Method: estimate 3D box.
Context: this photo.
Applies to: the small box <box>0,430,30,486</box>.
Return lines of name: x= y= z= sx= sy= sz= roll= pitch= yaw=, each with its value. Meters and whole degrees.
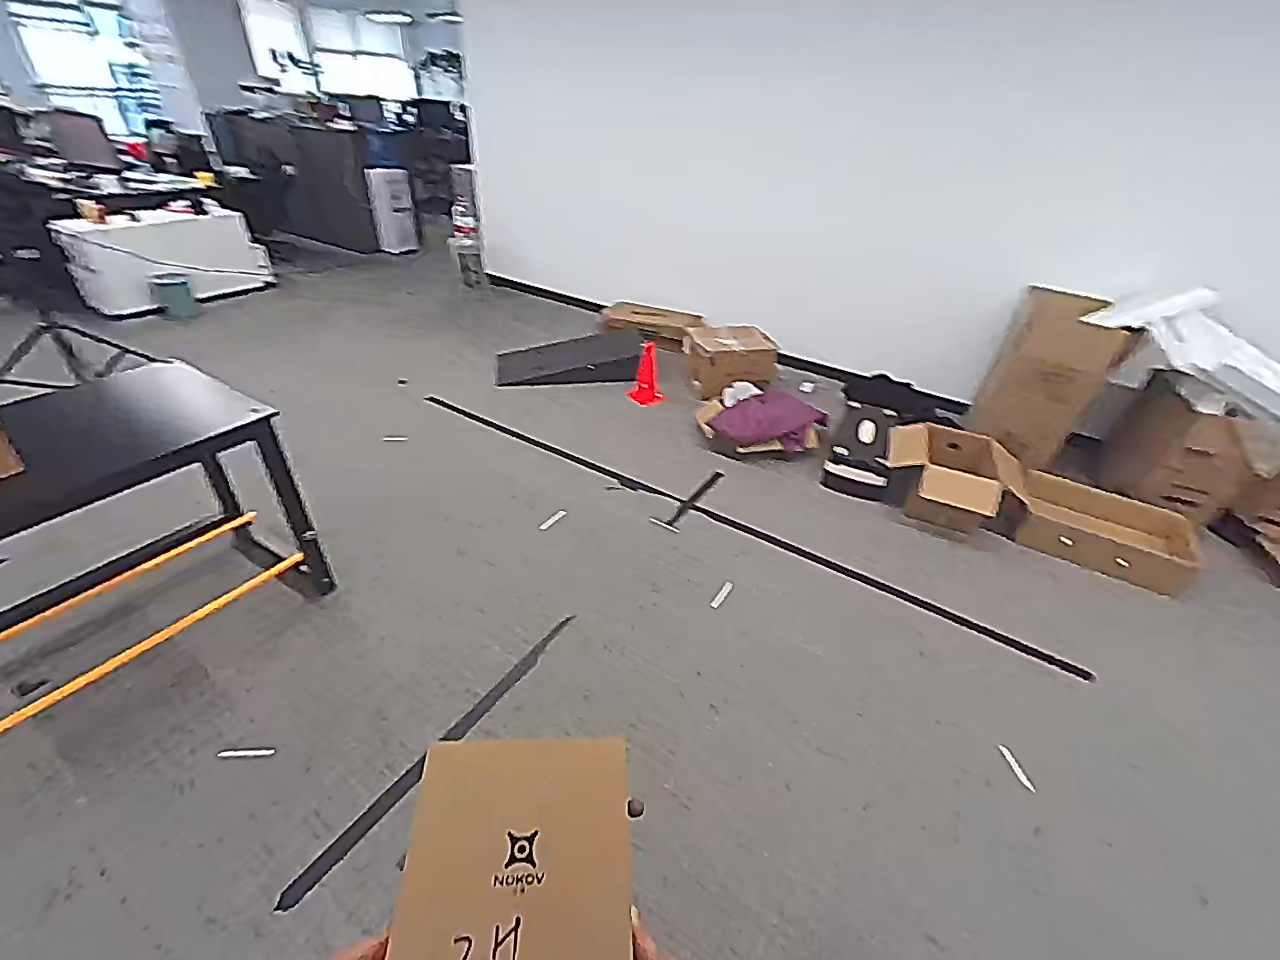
small box: x=-1.554 y=-0.068 z=1.218 sx=0.179 sy=0.176 sz=0.168 roll=22 pitch=39 yaw=23

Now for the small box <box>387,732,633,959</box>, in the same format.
small box: x=-0.099 y=0.337 z=0.461 sx=0.168 sy=0.176 sz=0.179 roll=1 pitch=45 yaw=-7
